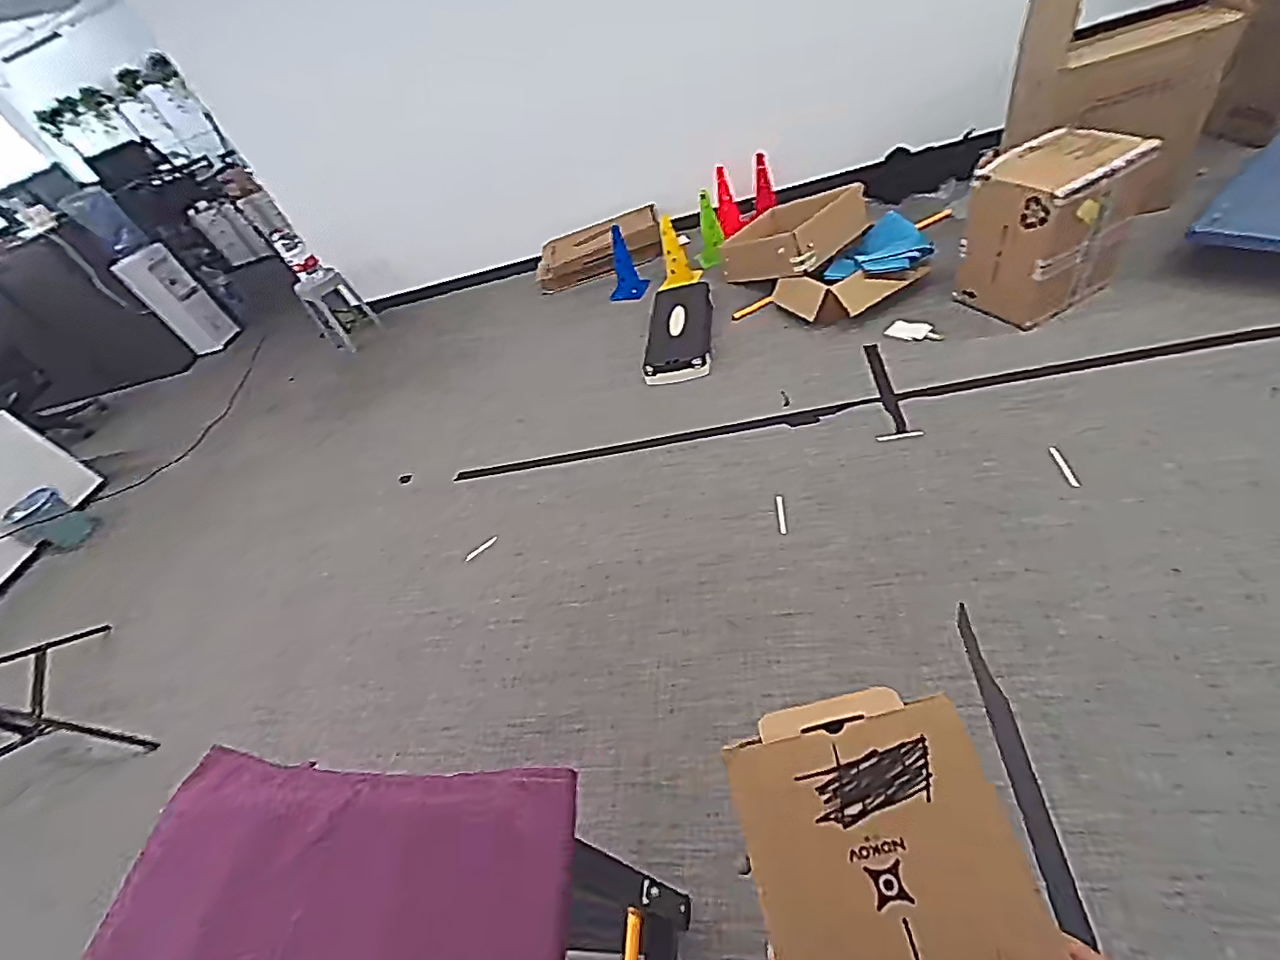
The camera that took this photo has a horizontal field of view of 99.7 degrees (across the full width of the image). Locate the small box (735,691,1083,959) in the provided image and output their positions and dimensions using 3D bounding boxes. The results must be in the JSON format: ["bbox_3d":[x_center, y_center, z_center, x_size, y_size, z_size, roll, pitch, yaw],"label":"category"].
[{"bbox_3d":[0.175,0.276,0.408,0.168,0.176,0.179,-16,61,5],"label":"small box"}]
